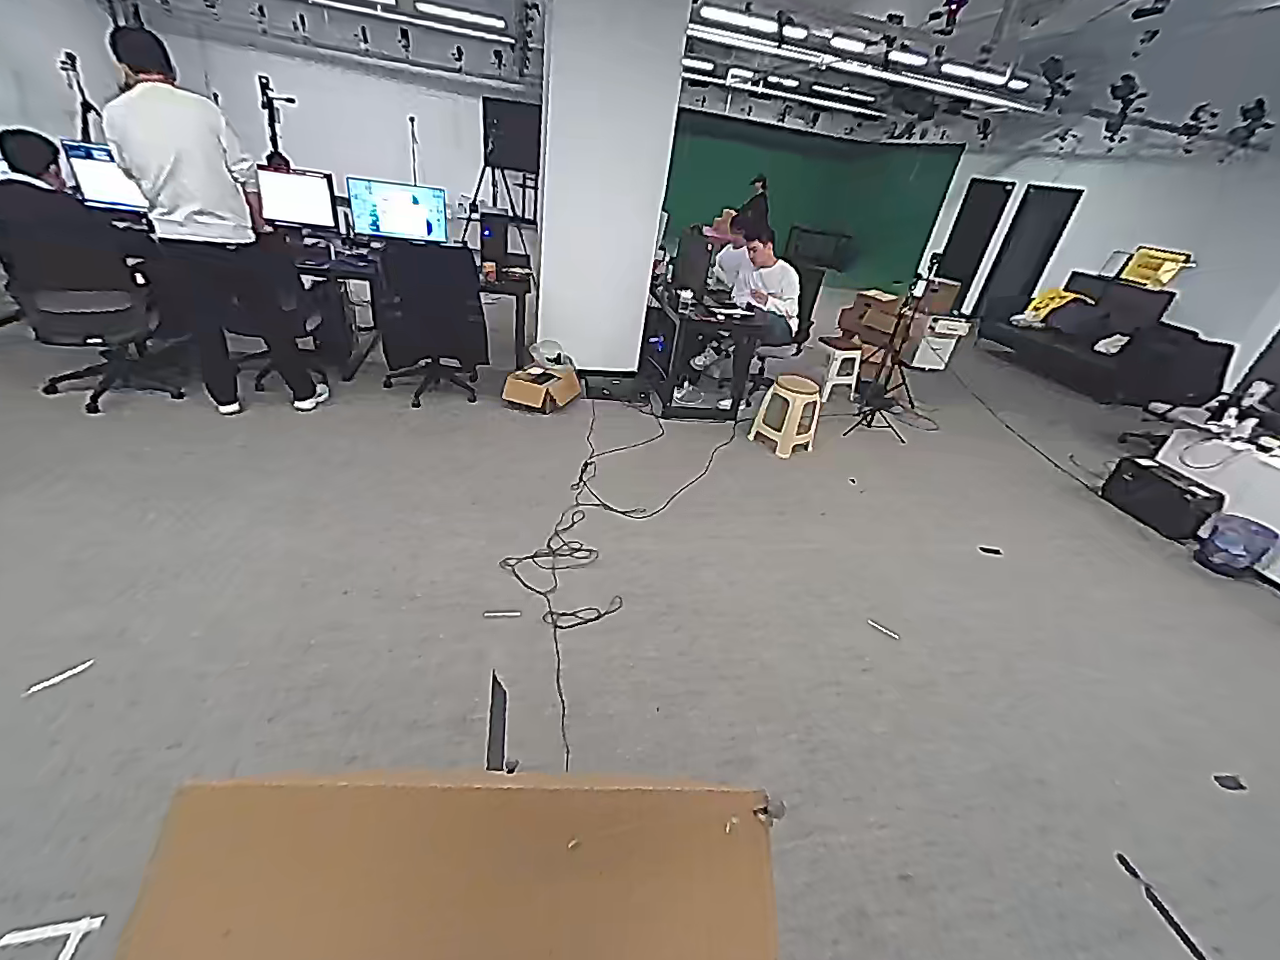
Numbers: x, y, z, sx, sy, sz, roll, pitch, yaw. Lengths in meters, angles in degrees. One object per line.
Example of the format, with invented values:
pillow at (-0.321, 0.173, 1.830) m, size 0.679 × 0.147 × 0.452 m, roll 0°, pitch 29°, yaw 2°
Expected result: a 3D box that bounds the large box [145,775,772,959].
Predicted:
large box at (-0.127, 0.428, 0.454) m, size 0.408 × 0.320 × 0.320 m, roll 4°, pitch 64°, yaw -6°
